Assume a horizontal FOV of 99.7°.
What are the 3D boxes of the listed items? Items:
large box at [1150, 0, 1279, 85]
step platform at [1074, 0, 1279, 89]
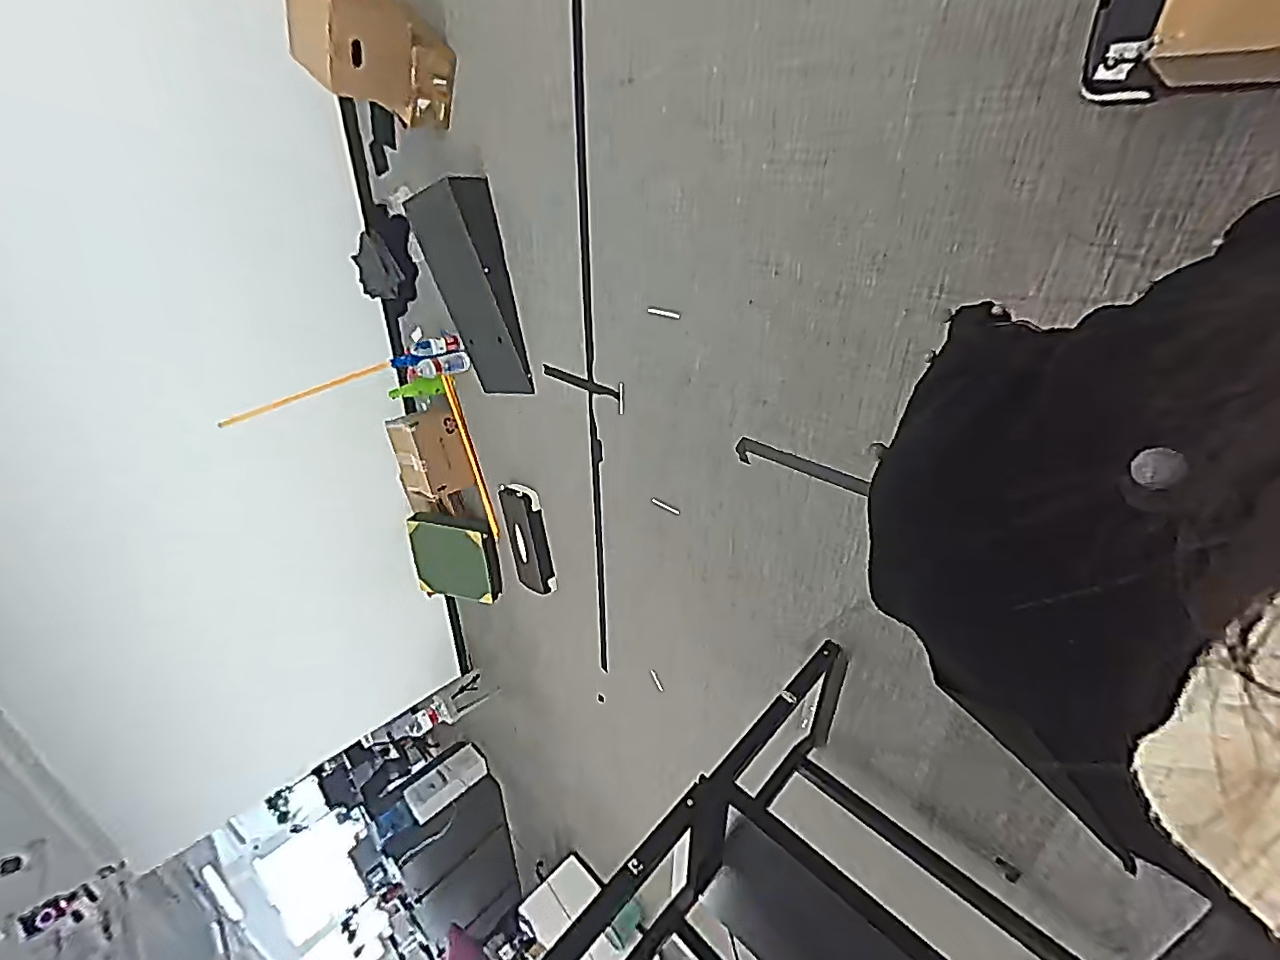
[{"bbox_3d":[0.864,-0.620,0.550,0.408,0.320,0.320,28,128,38],"label":"large box"},{"bbox_3d":[1.018,-0.692,0.718,0.684,0.204,0.286,33,131,34],"label":"step platform"}]
